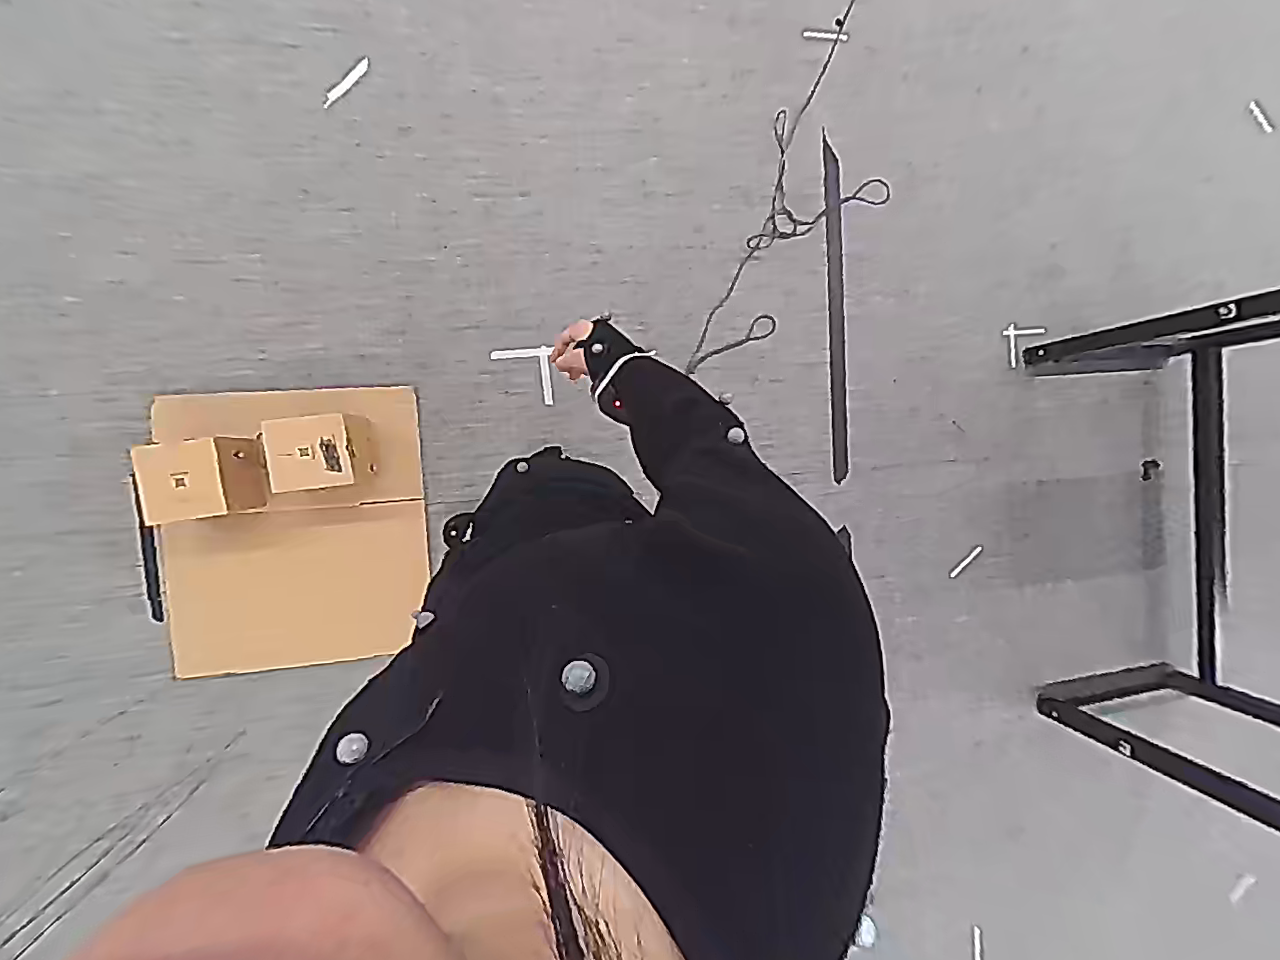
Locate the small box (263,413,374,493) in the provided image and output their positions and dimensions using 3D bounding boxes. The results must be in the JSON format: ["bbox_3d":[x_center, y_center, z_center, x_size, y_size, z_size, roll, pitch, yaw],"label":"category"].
[{"bbox_3d":[-0.749,-0.066,1.284,0.179,0.176,0.168,-8,93,-9],"label":"small box"}]

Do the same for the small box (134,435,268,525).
[{"bbox_3d":[-0.999,-0.004,1.245,0.168,0.176,0.179,-10,94,-8],"label":"small box"}]
